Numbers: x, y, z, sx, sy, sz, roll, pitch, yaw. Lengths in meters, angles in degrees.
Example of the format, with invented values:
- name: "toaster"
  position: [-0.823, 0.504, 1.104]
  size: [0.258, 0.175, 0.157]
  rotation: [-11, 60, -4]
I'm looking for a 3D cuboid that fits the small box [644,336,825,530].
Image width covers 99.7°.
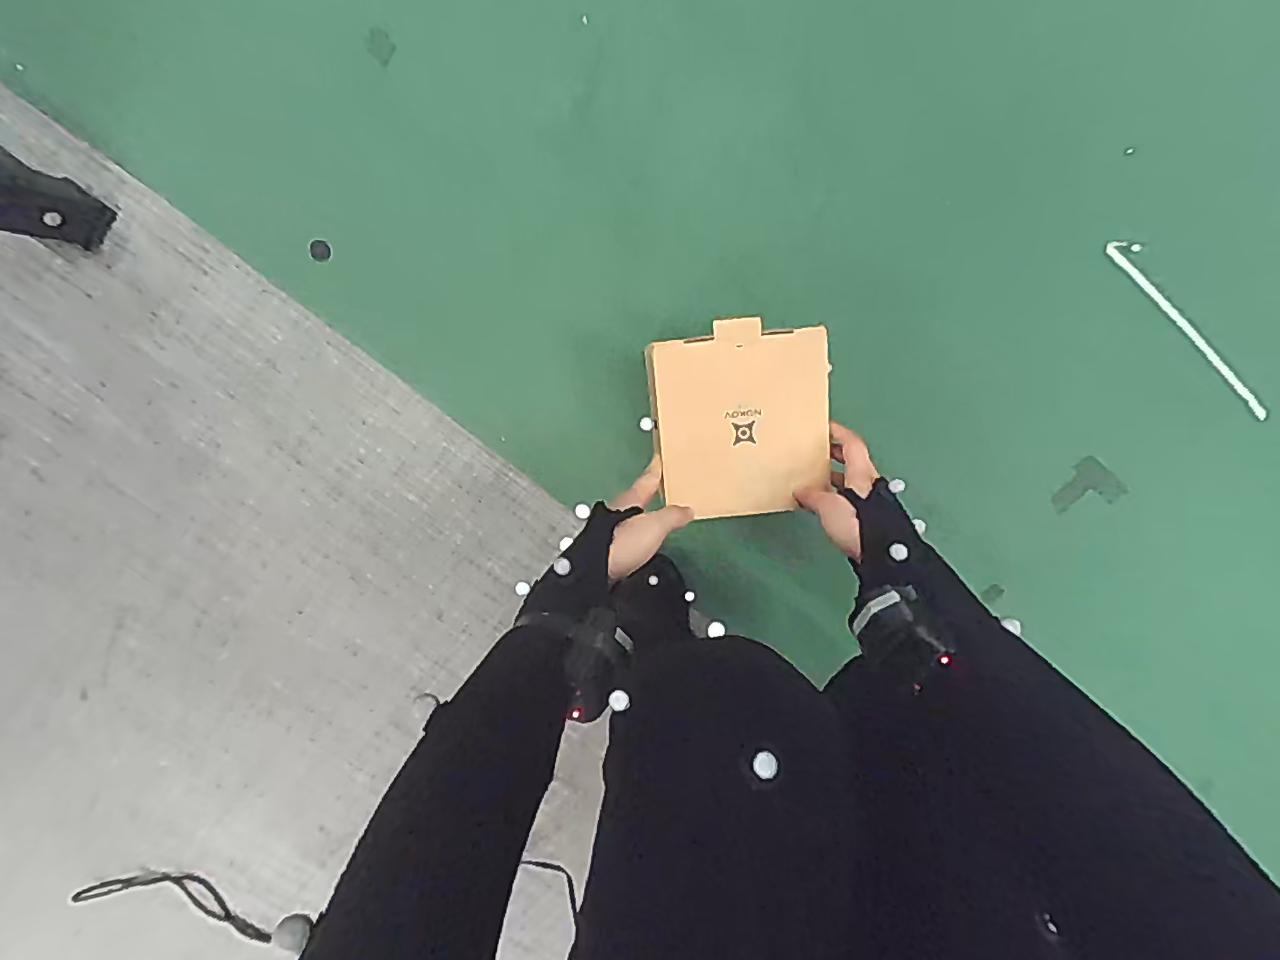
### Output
- name: "small box"
  position: [0.093, -0.059, 0.592]
  size: [0.168, 0.176, 0.179]
  rotation: [-6, 102, 0]
